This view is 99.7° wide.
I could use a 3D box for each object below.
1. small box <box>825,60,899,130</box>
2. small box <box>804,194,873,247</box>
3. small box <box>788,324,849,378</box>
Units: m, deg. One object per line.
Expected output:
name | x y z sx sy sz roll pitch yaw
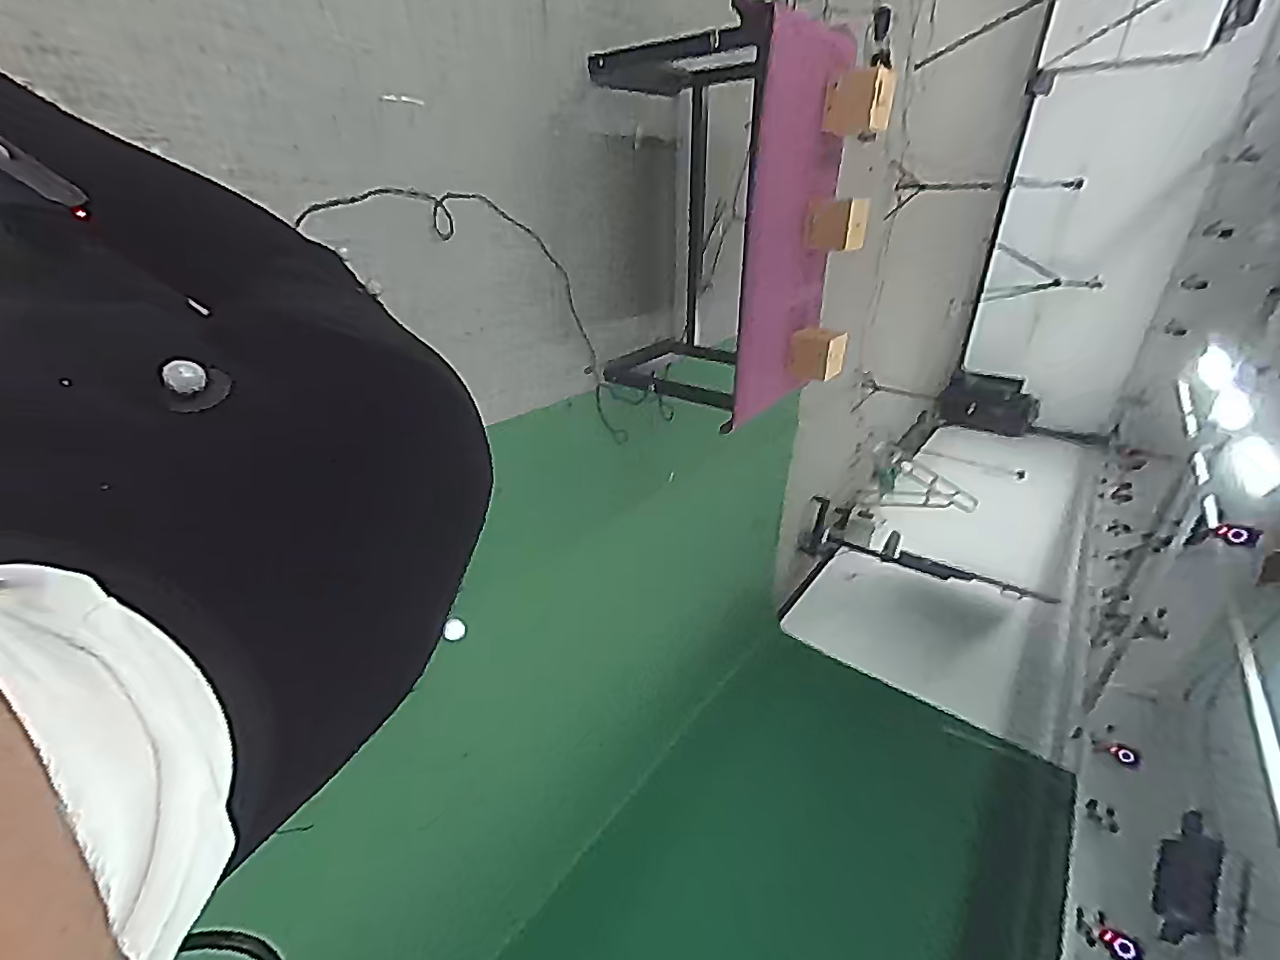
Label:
small box | 0.741 -1.282 1.812 0.179 0.176 0.168 -28 129 -43
small box | 0.719 -0.947 1.965 0.179 0.176 0.168 -30 129 -43
small box | 0.718 -0.526 2.180 0.179 0.176 0.168 -32 130 -43
